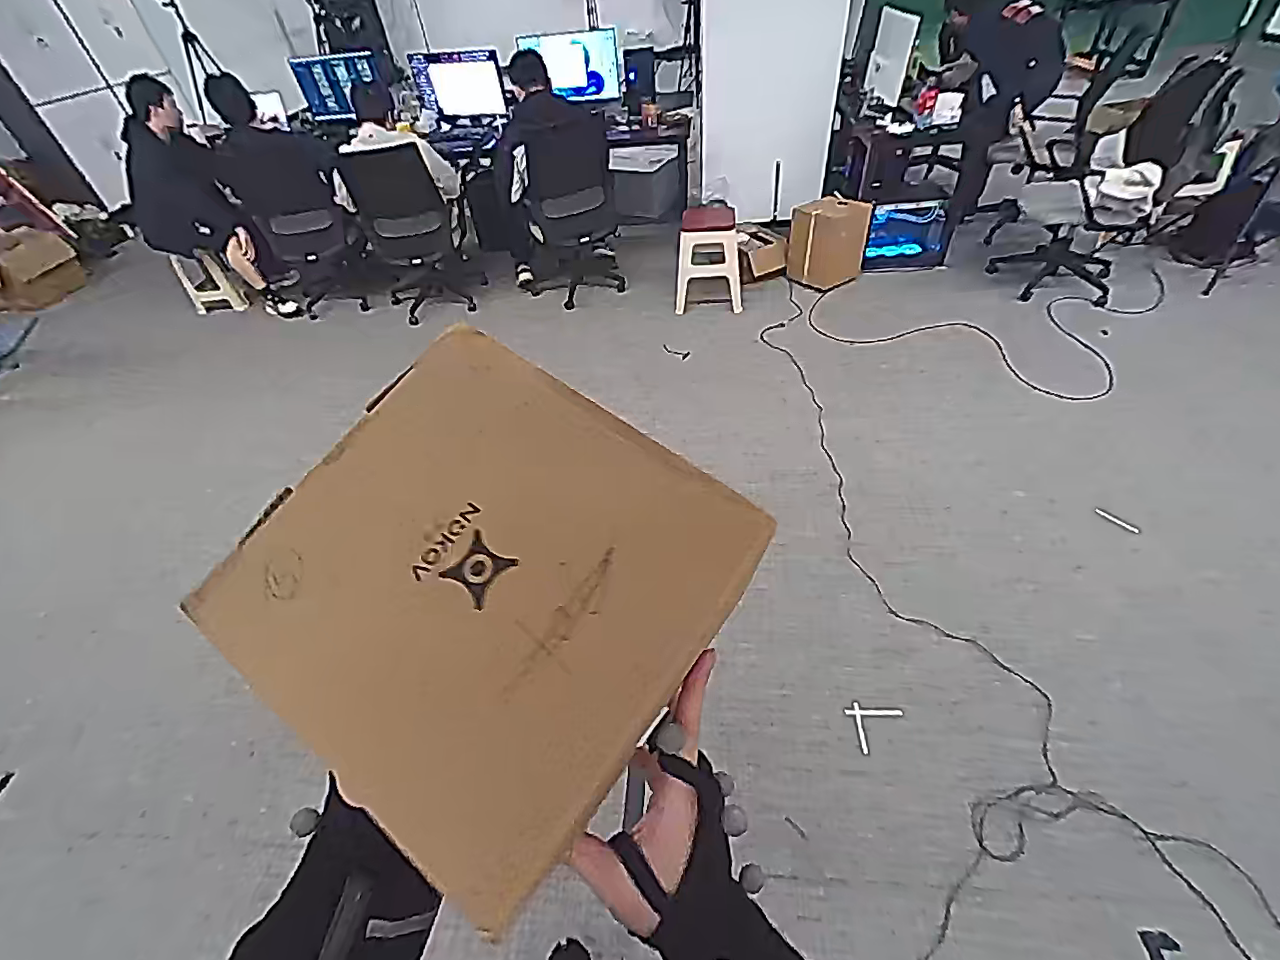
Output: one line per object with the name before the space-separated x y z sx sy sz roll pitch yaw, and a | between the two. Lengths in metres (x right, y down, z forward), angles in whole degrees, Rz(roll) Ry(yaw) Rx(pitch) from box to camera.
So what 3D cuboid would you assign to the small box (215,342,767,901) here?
small box | -0.057 0.066 0.297 0.179 0.176 0.168 32 75 15
